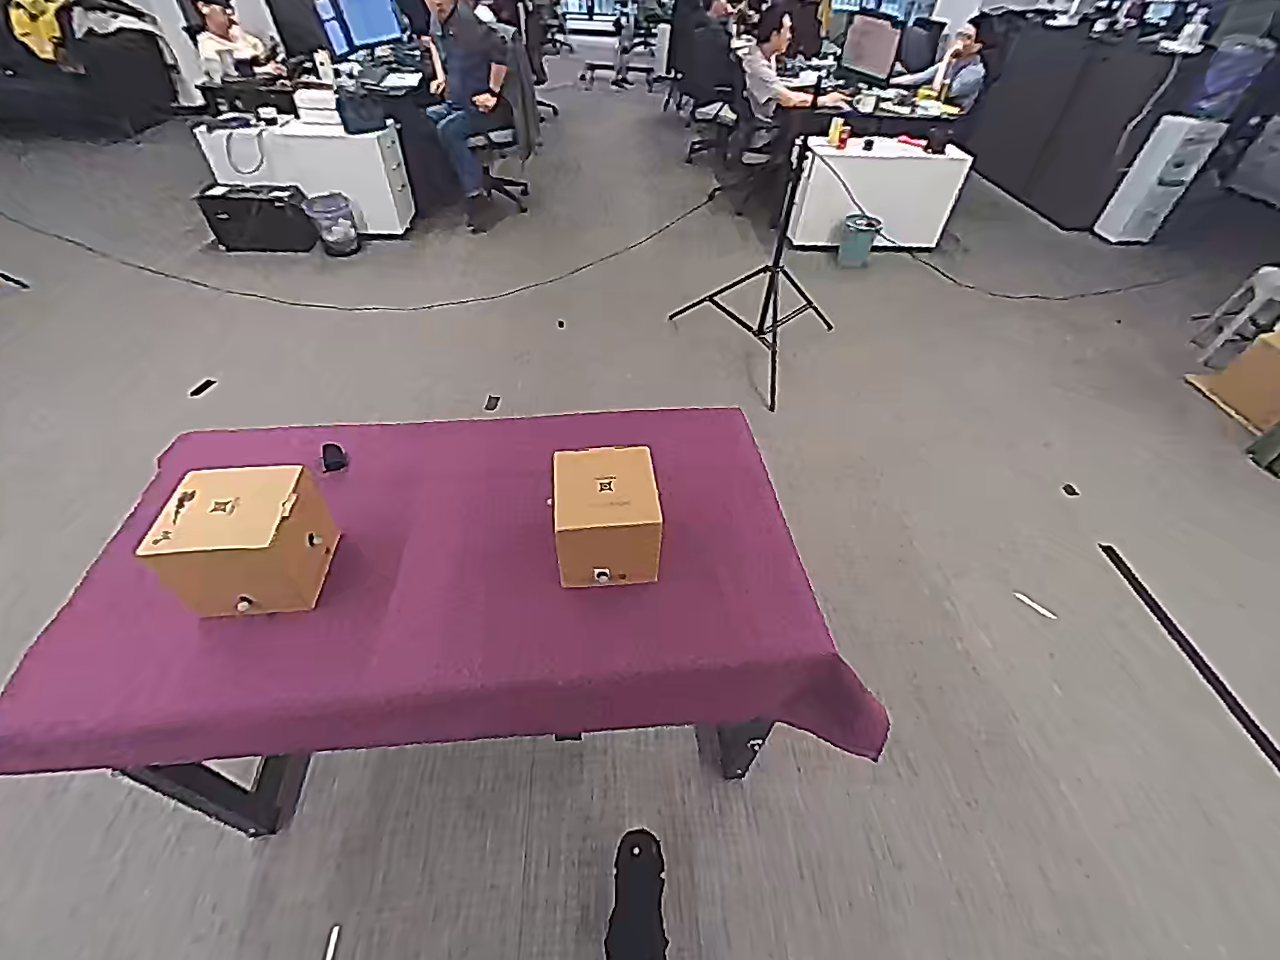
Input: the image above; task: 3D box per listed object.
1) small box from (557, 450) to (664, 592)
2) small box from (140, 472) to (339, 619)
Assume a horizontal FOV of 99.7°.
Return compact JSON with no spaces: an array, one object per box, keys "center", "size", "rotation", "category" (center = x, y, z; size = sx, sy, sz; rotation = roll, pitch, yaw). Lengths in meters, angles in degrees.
[{"center":[-0.055,0.069,0.931],"size":[0.168,0.176,0.179],"rotation":[-4,46,-6],"category":"small box"},{"center":[-0.612,0.105,0.860],"size":[0.179,0.176,0.168],"rotation":[-2,45,-7],"category":"small box"}]
